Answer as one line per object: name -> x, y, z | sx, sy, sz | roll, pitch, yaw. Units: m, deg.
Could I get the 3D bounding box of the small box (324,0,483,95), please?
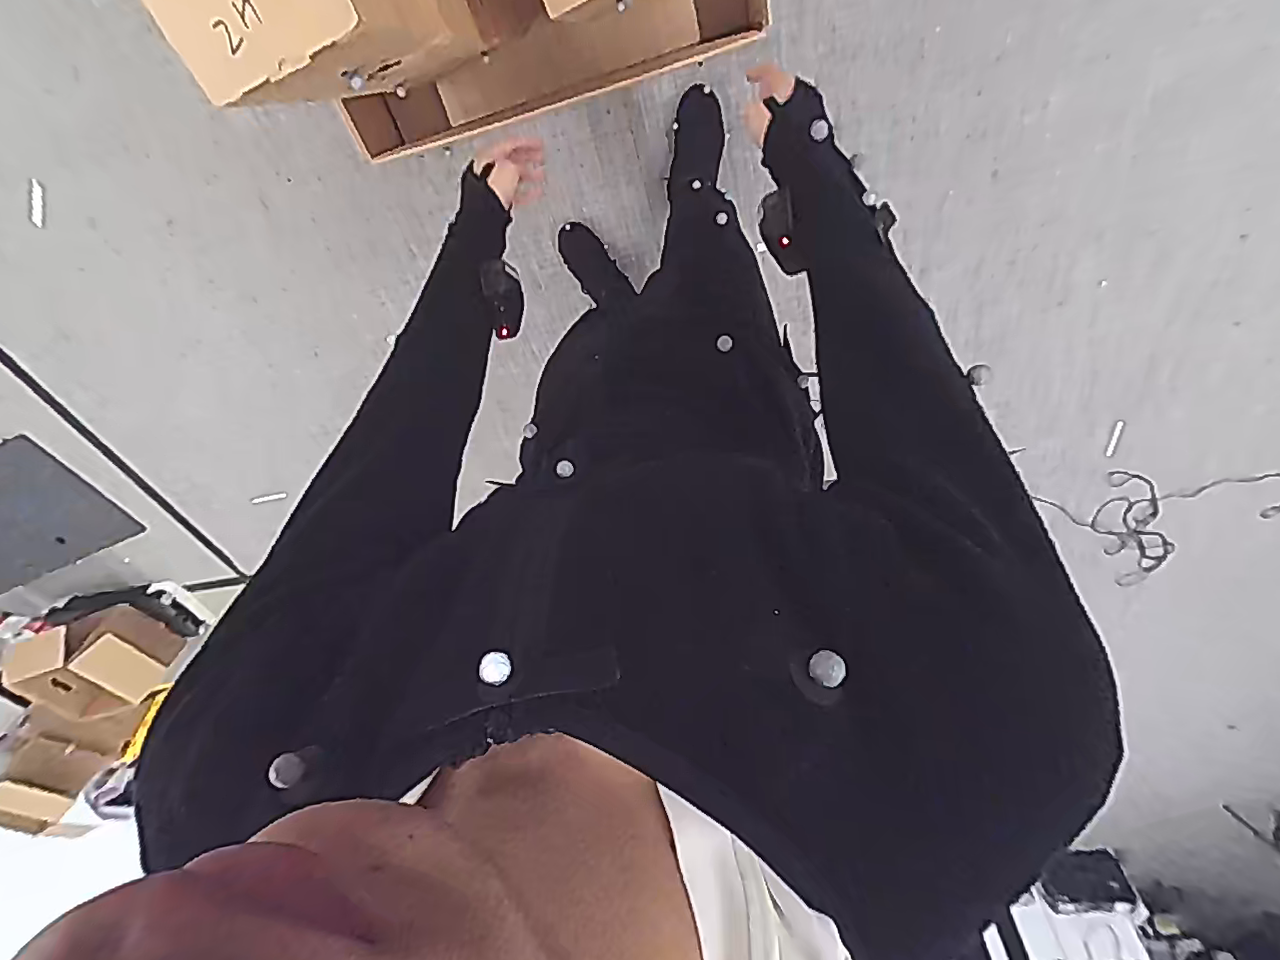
small box -> -0.301, -0.566, 0.603 | 0.168, 0.176, 0.179 | -13, 126, 14

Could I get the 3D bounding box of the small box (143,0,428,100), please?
small box -> -0.324, -0.465, 0.473 | 0.168, 0.176, 0.179 | -14, 126, 15
